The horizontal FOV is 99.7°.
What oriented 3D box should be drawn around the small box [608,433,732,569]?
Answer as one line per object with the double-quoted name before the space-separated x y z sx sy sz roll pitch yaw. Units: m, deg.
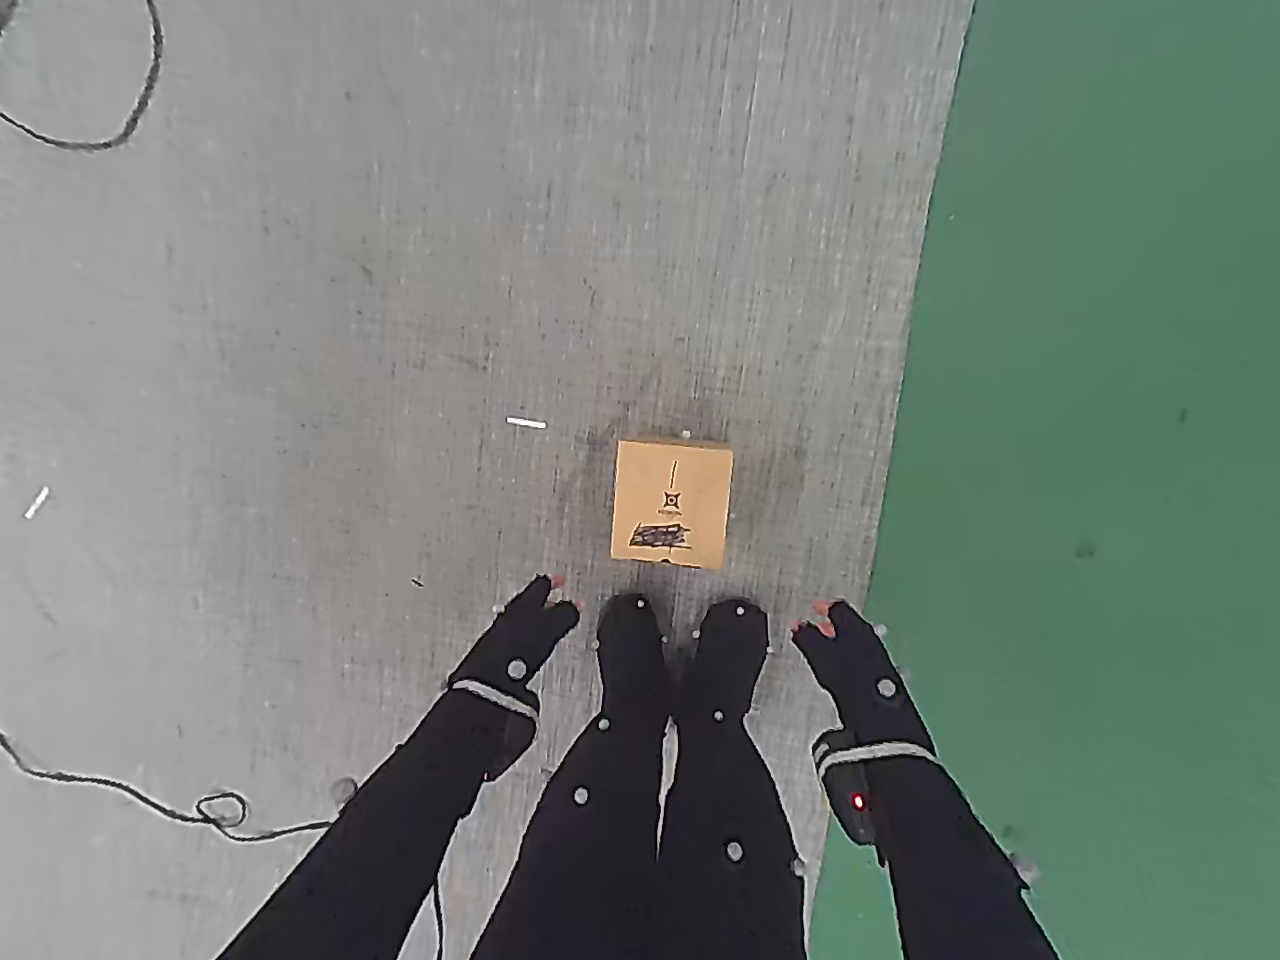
"small box" 0.053 0.024 0.844 0.168 0.176 0.179 6 98 8
